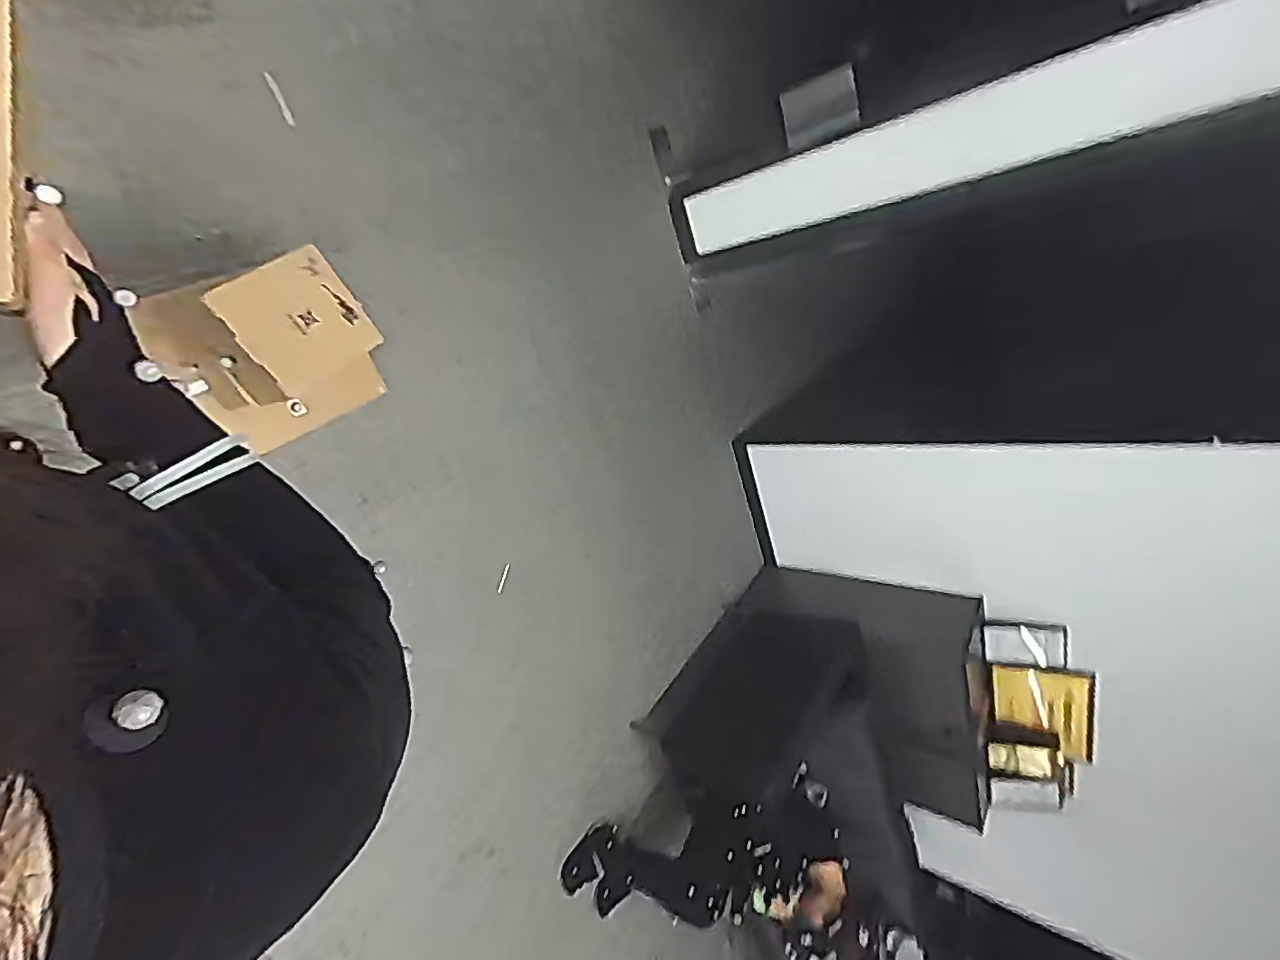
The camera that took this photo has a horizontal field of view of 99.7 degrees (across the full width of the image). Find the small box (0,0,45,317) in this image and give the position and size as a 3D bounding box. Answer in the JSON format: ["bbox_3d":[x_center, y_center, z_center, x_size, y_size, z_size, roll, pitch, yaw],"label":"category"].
[{"bbox_3d":[-0.462,-0.196,0.301,0.168,0.176,0.179,-1,101,-44],"label":"small box"}]

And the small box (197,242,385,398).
[{"bbox_3d":[-0.551,-0.243,0.852,0.179,0.176,0.168,-50,126,-33],"label":"small box"}]
